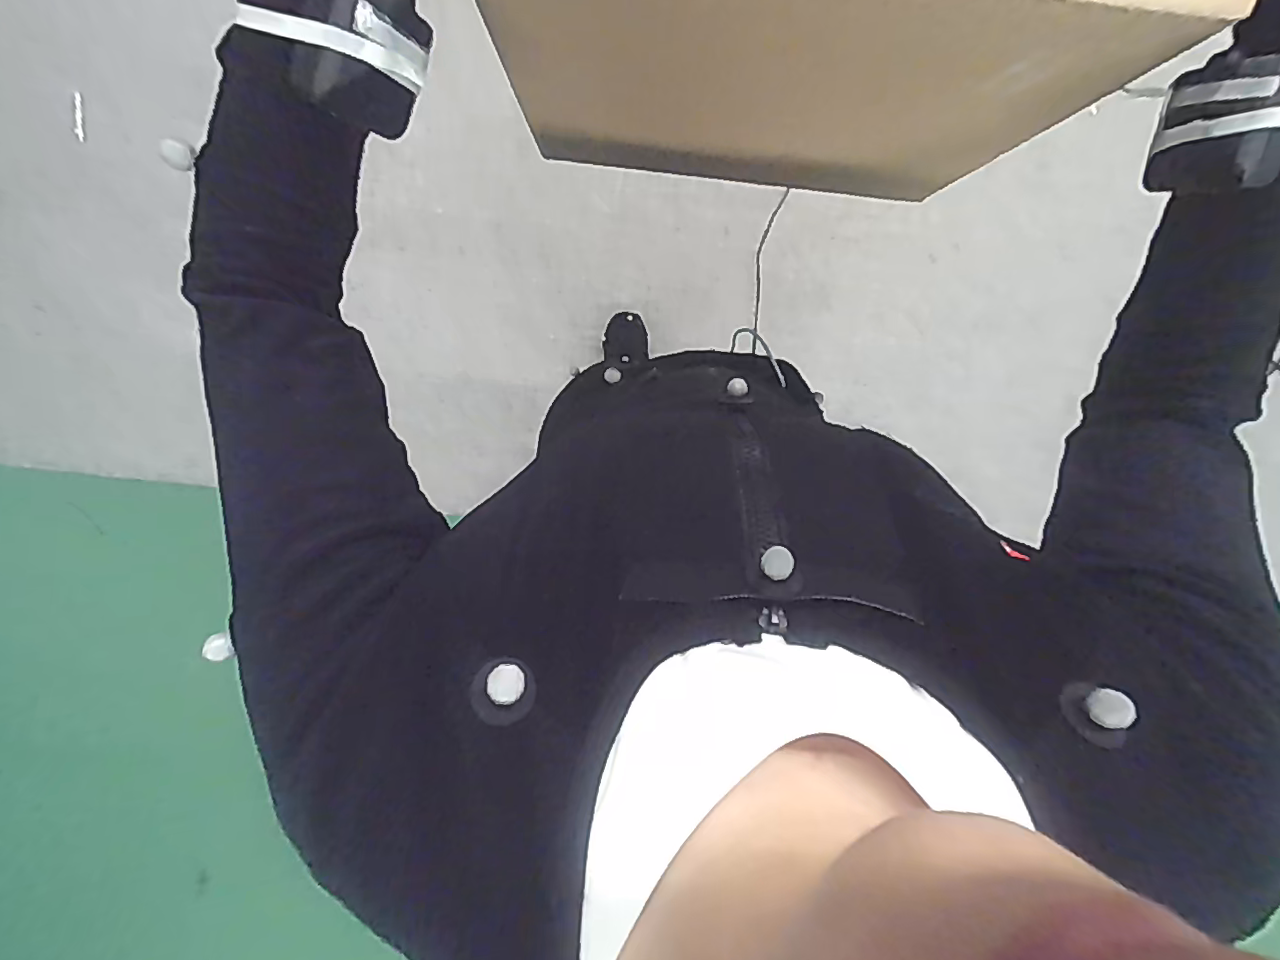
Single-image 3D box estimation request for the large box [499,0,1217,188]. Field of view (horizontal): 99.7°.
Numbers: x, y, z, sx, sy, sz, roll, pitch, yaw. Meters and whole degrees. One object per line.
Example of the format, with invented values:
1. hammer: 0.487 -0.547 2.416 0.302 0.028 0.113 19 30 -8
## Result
1. large box: 0.116 -0.439 0.393 0.408 0.320 0.320 4 102 -3
